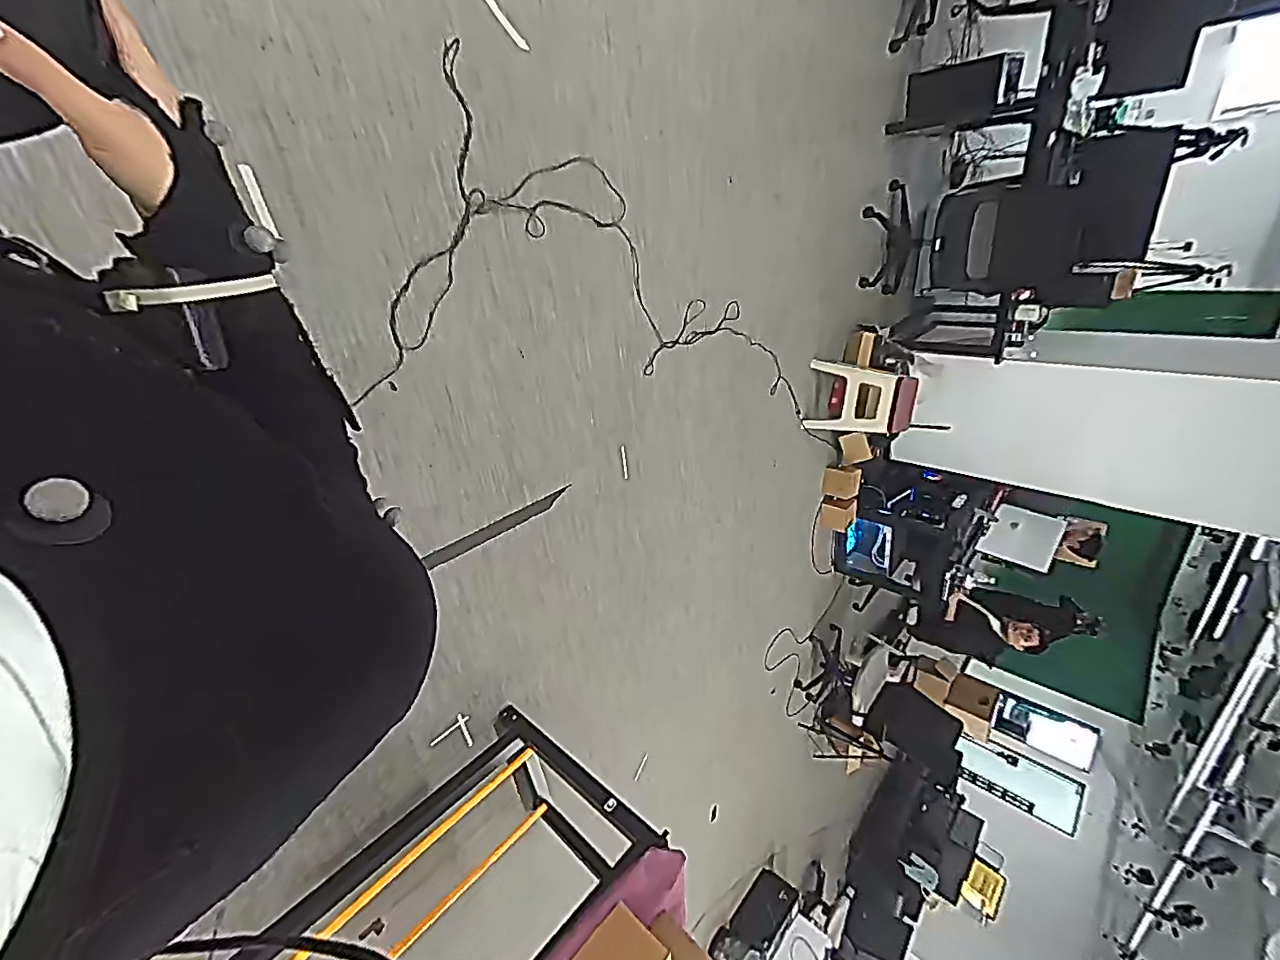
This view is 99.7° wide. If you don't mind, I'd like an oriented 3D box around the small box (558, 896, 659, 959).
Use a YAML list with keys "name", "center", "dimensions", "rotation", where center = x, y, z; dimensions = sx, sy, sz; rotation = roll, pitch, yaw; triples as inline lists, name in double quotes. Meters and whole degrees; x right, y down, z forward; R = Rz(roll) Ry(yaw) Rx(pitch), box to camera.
- name: "small box"
  center: [-0.072, 1.153, 1.283]
  dimensions: [0.179, 0.176, 0.168]
  rotation: [-30, 127, -37]
